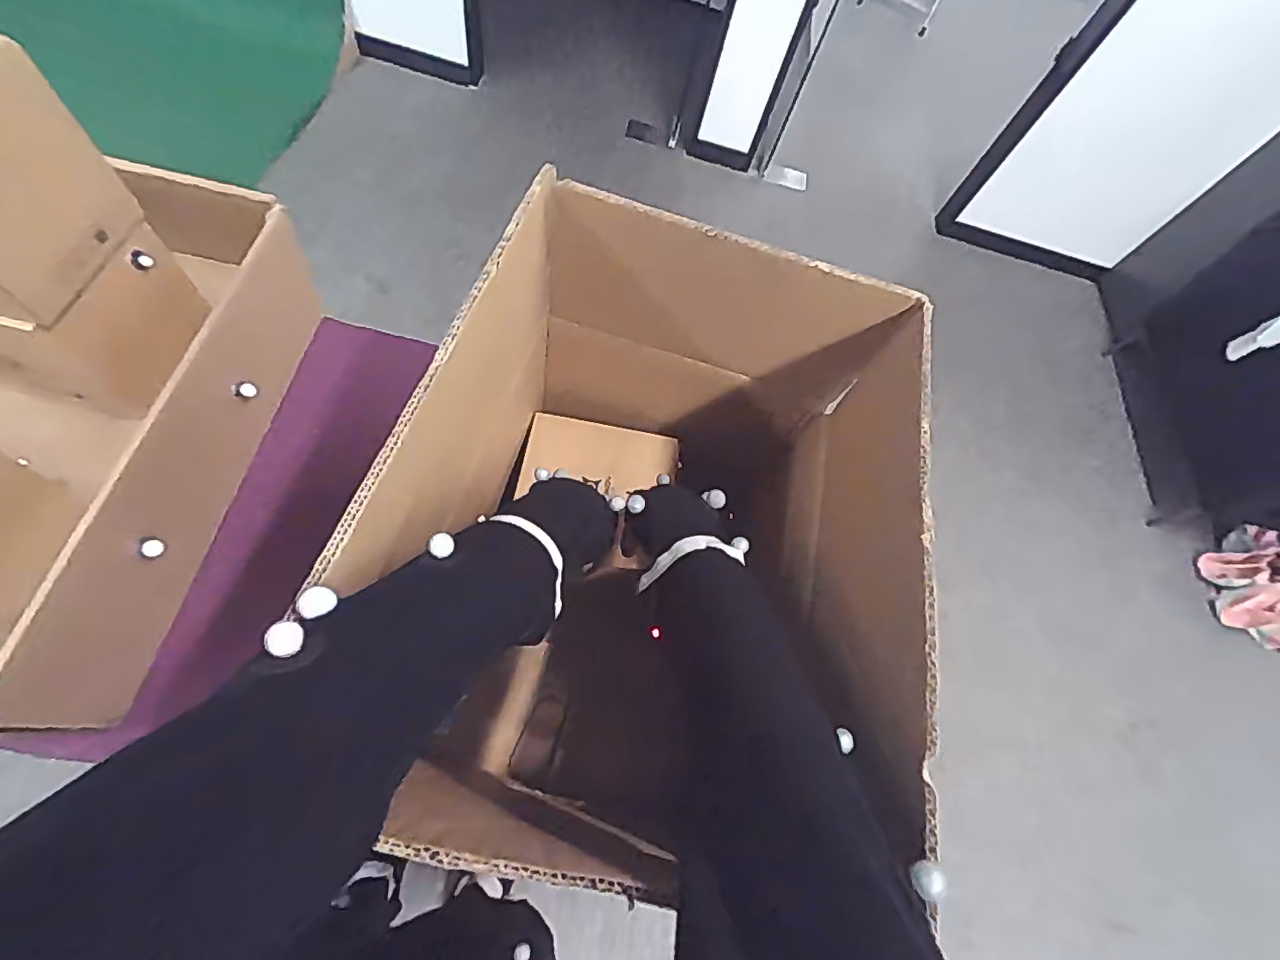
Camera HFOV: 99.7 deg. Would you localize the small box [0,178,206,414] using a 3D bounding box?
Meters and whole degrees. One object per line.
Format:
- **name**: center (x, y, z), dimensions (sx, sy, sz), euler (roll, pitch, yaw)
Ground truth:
- **small box**: center (-0.655, -0.200, 0.617), dimensions (0.168, 0.176, 0.179), euler (14, 63, -4)
